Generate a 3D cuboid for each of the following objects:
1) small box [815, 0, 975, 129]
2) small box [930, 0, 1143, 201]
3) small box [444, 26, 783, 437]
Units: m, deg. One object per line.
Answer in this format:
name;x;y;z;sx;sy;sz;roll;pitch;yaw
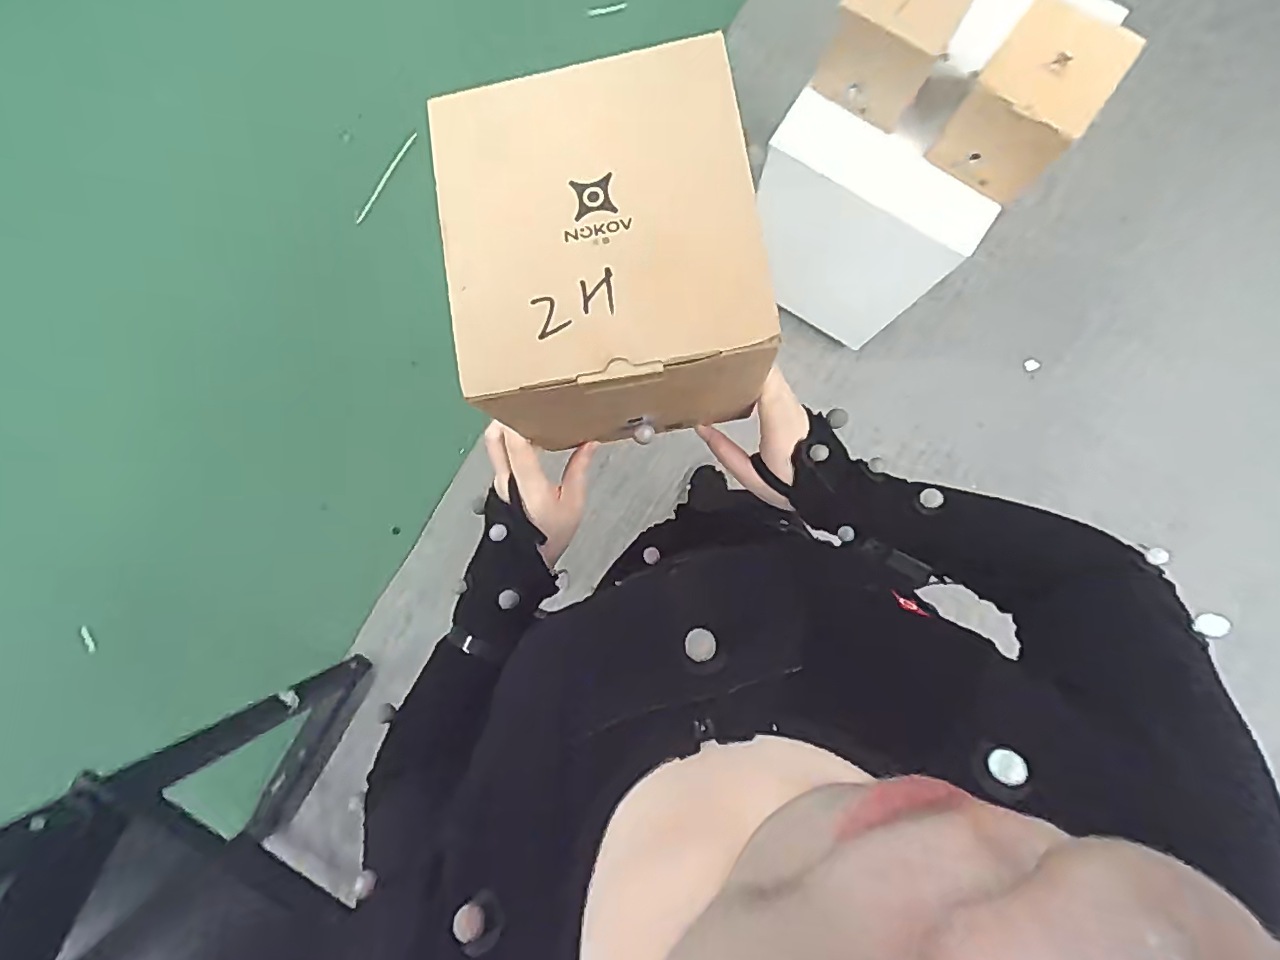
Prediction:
small box;0.403;-0.715;0.854;0.168;0.176;0.179;33;90;3
small box;0.593;-0.584;0.838;0.168;0.176;0.179;34;90;5
small box;-0.011;-0.138;0.364;0.168;0.176;0.179;-9;84;6
